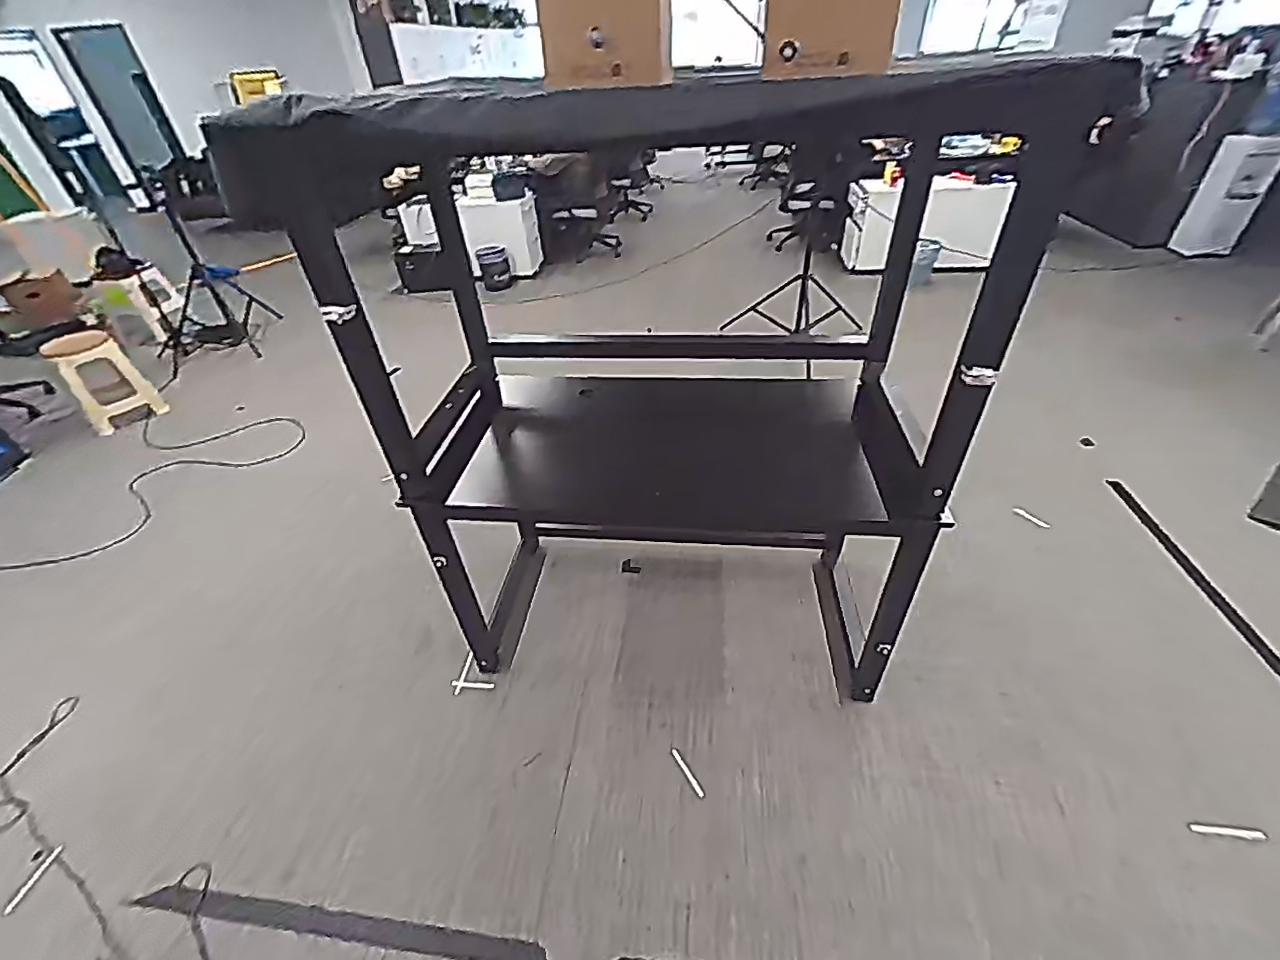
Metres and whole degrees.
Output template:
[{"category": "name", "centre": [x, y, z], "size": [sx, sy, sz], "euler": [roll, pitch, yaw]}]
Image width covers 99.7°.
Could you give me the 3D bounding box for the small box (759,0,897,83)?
[{"category": "small box", "centre": [0.253, -0.651, 0.734], "size": [0.168, 0.176, 0.179], "euler": [4, 37, 10]}]

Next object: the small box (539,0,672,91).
[{"category": "small box", "centre": [-0.044, -0.659, 0.768], "size": [0.168, 0.176, 0.179], "euler": [2, 37, 8]}]
